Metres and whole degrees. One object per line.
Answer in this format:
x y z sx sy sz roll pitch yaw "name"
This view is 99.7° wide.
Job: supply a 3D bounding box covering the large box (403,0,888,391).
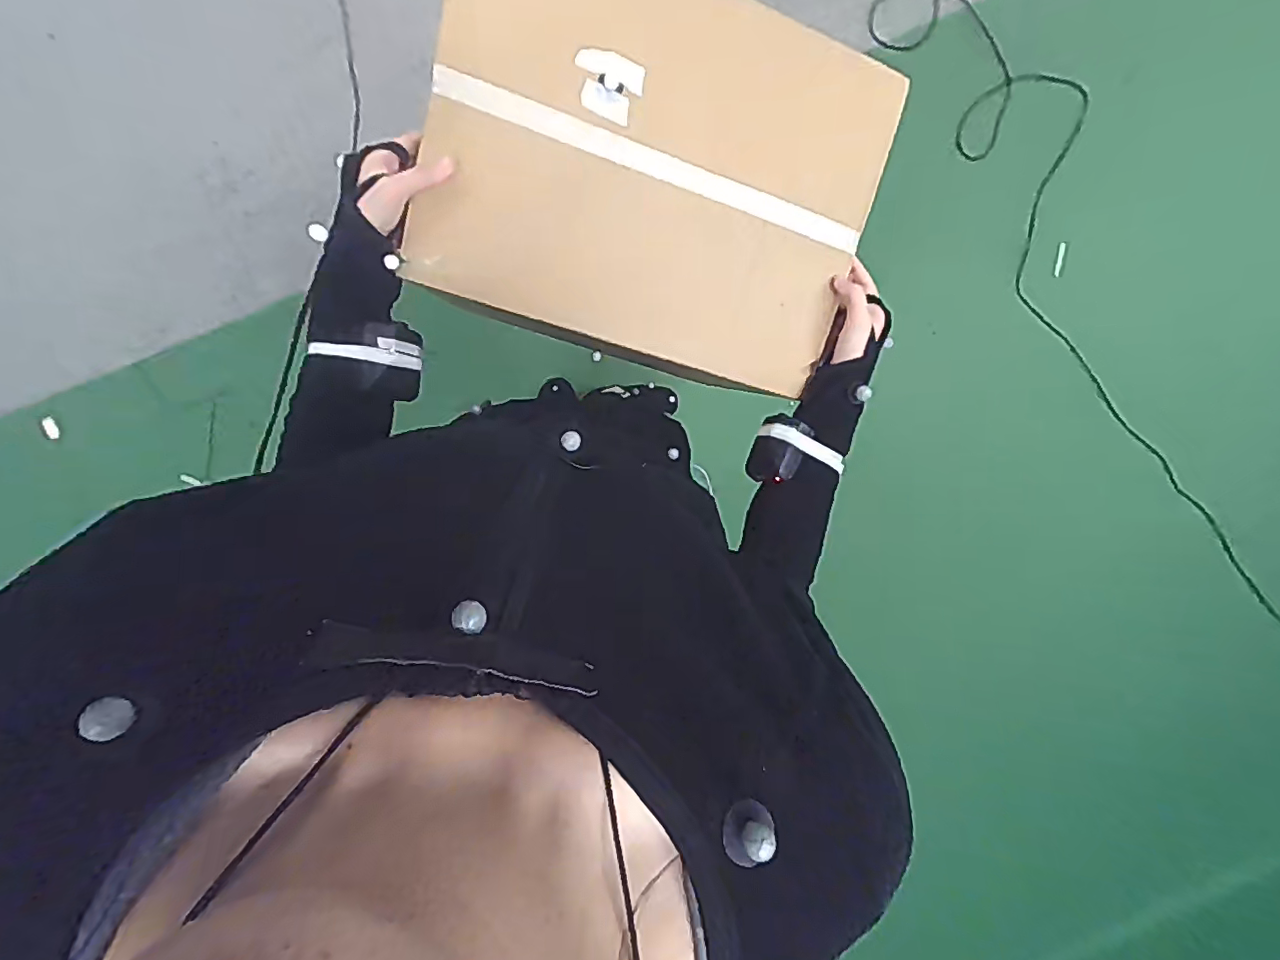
-0.012 -0.315 0.643 0.408 0.320 0.320 13 100 -14 "large box"
